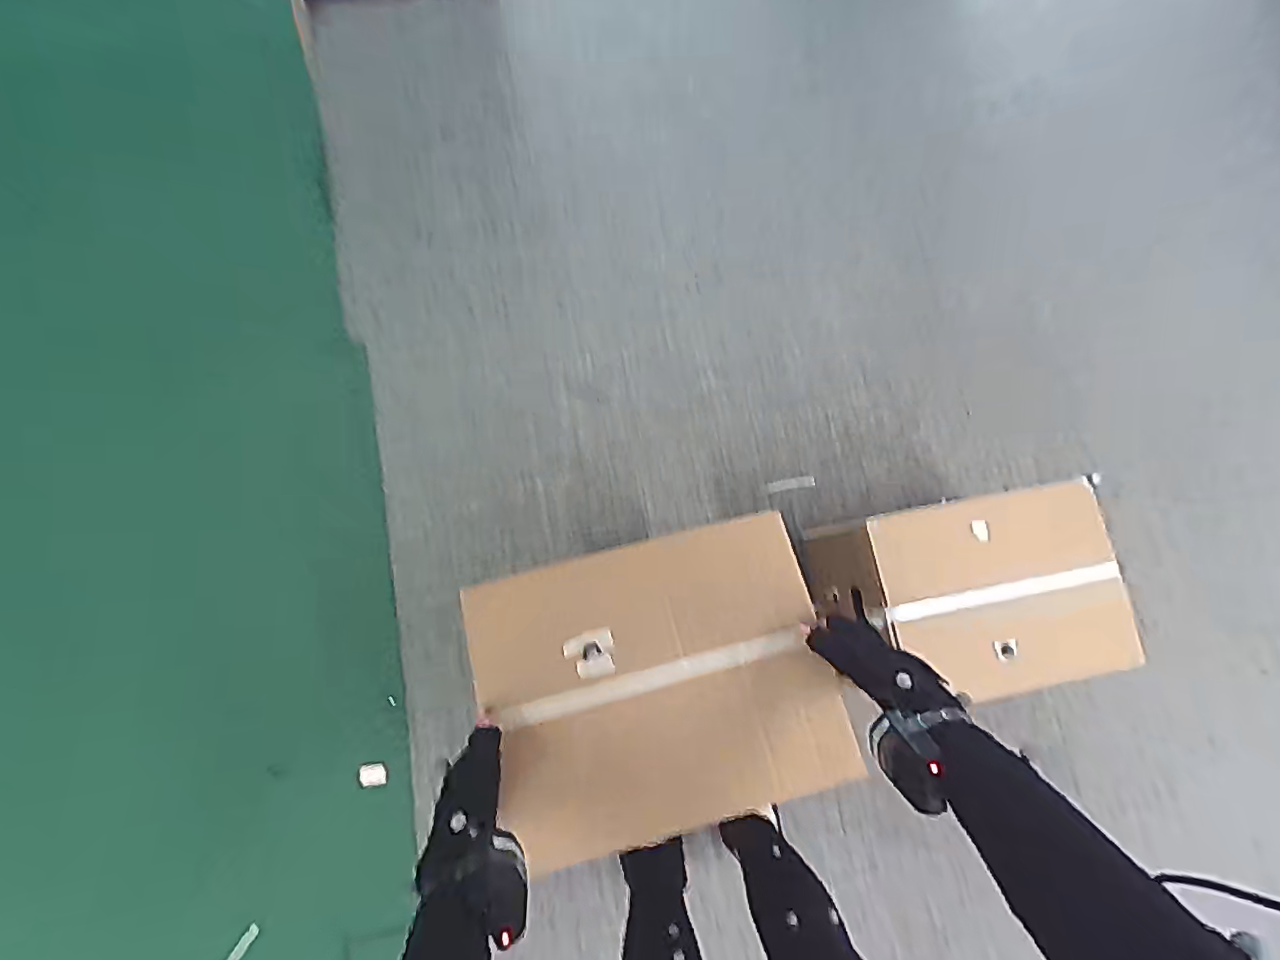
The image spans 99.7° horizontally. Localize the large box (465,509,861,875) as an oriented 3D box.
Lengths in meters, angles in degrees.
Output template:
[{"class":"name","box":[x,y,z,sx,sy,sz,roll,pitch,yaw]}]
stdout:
[{"class":"large box","box":[0.018,0.266,0.764,0.408,0.320,0.320,-14,73,-5]}]
